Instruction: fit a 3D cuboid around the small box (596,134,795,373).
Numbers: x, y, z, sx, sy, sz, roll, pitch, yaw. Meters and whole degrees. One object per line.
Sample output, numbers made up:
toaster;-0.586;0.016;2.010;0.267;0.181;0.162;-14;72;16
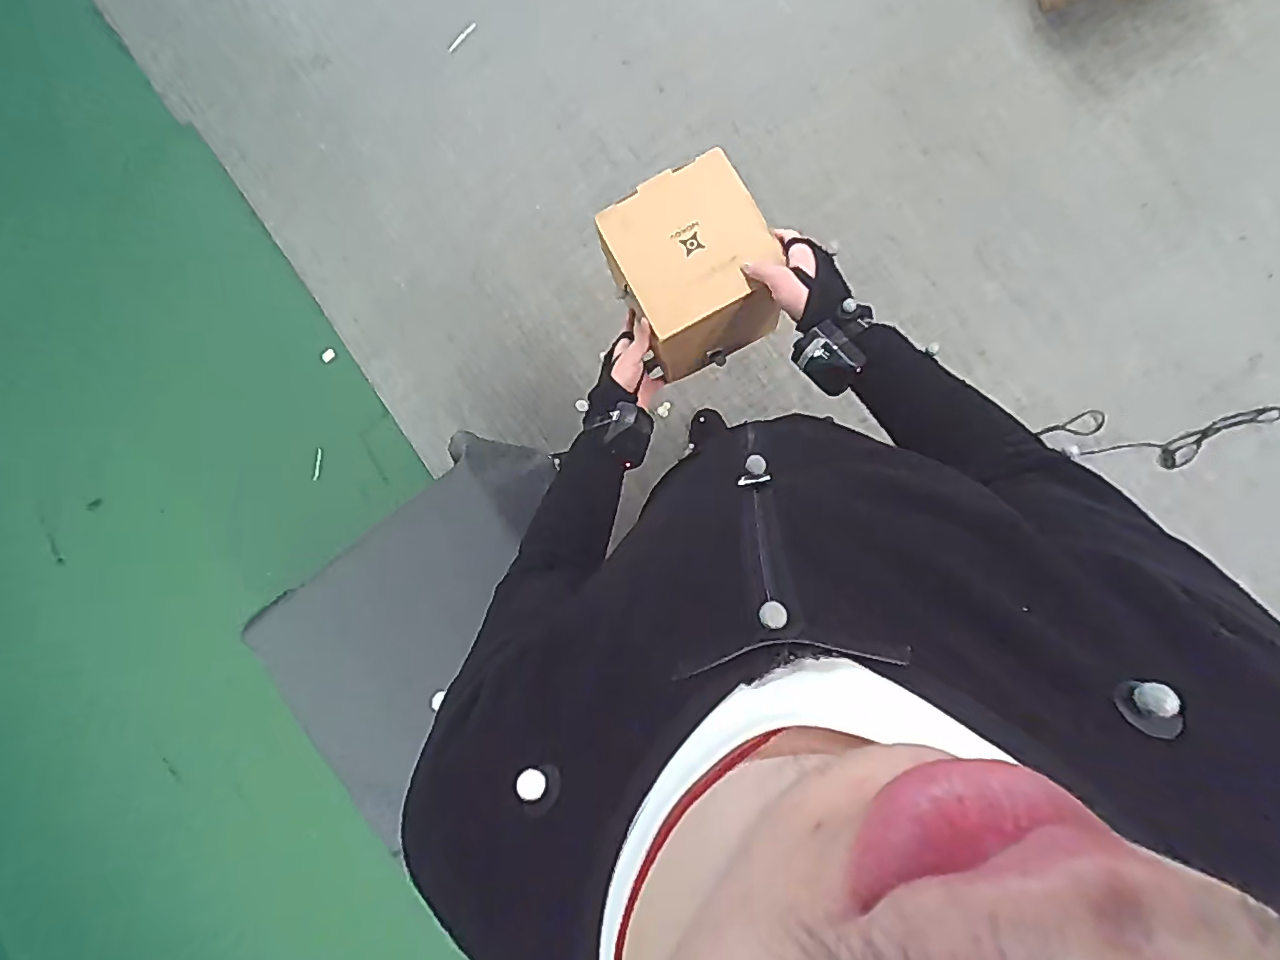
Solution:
small box;0.066;-0.260;0.660;0.168;0.176;0.179;-25;80;5
